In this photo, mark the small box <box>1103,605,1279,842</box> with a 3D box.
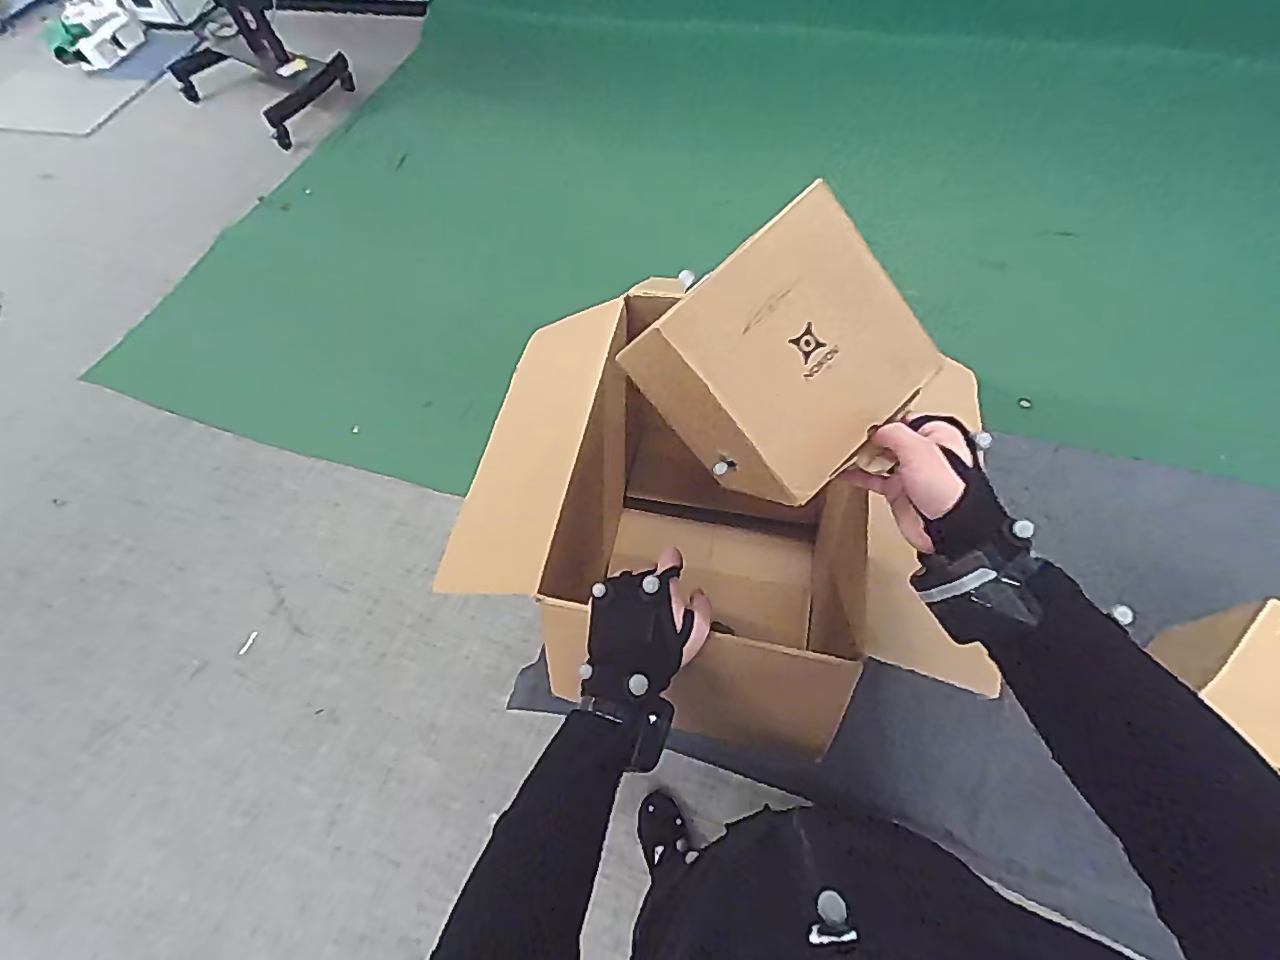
[{"bbox_3d":[0.682,0.277,0.606,0.179,0.176,0.168,-37,64,-13],"label":"small box"}]

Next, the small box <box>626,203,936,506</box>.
[{"bbox_3d":[0.112,-0.099,0.492,0.168,0.176,0.179,-43,100,-8],"label":"small box"}]
